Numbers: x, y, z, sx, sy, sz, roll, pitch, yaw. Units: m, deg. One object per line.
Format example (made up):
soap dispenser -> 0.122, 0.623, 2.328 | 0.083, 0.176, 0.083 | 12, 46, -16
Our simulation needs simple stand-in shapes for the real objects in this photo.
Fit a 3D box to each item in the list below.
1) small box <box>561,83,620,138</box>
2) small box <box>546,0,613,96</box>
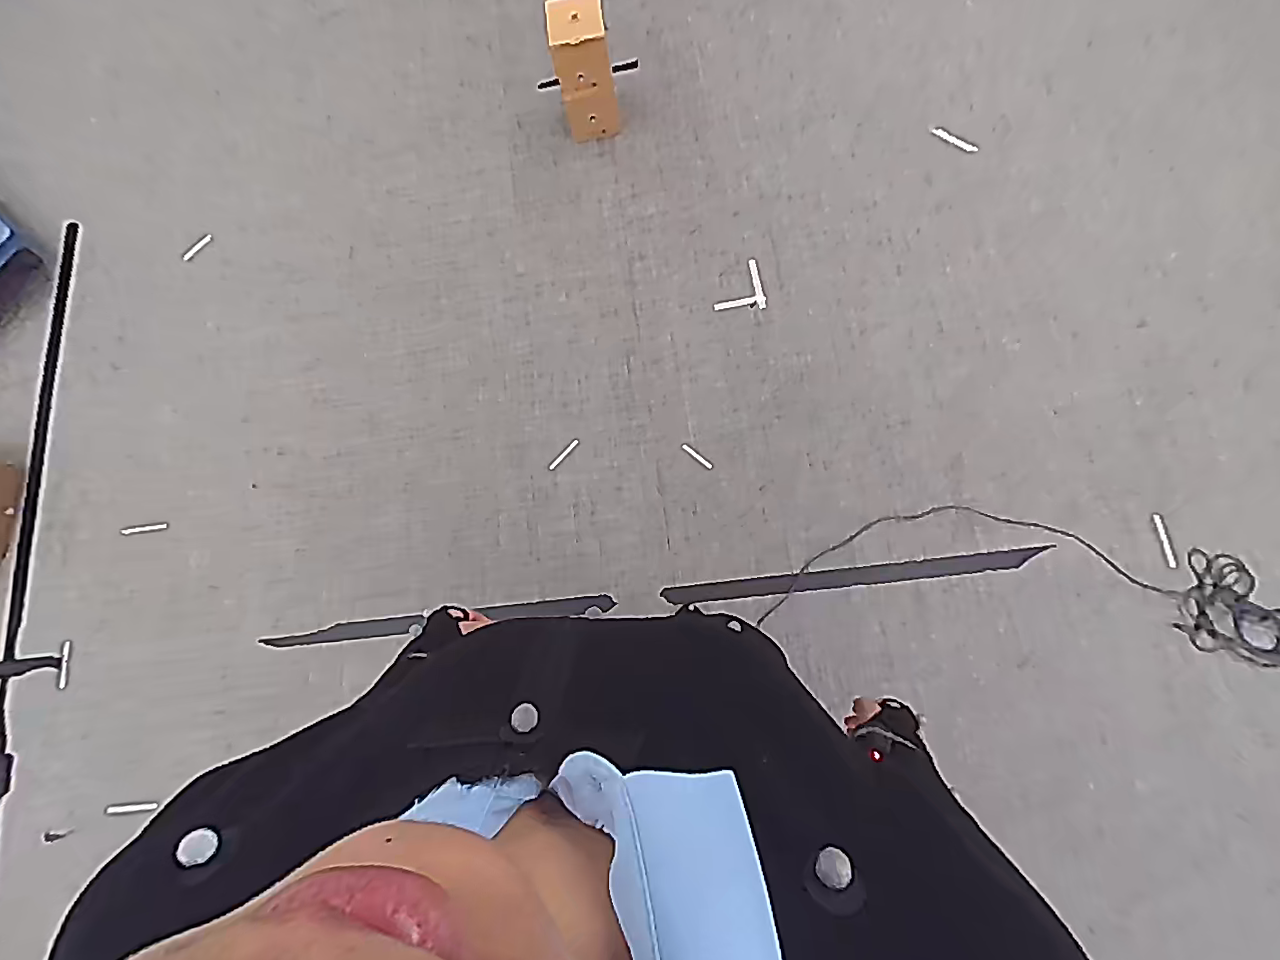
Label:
small box -> -0.165, -1.274, 1.797 | 0.168, 0.176, 0.179 | -10, 76, 3
small box -> -0.179, -1.320, 1.641 | 0.168, 0.176, 0.179 | -8, 77, 5
